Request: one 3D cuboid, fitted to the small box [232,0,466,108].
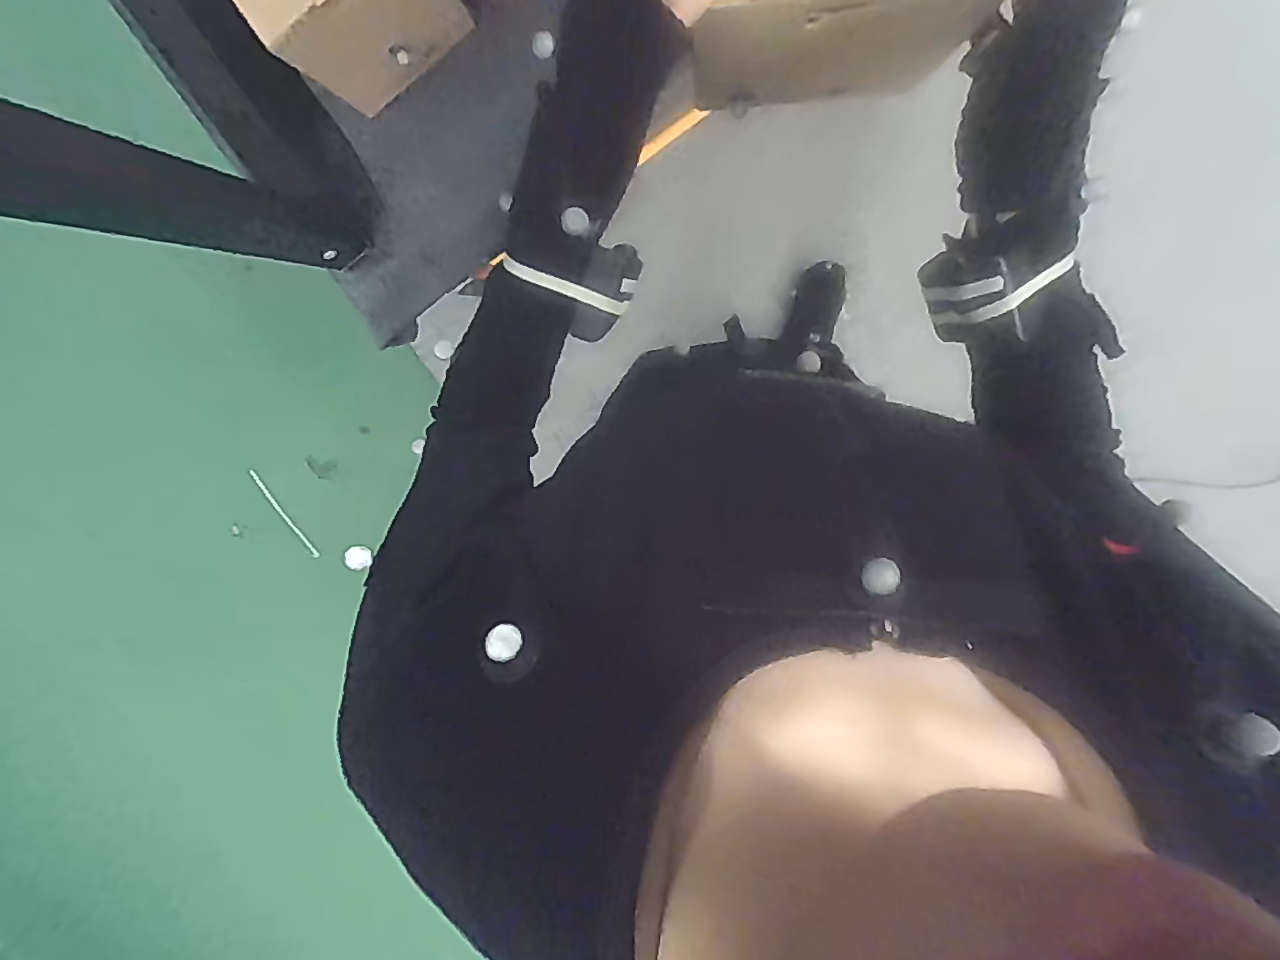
[{"bbox_3d":[-0.309,-0.522,0.531,0.168,0.176,0.179,-31,100,13],"label":"small box"}]
